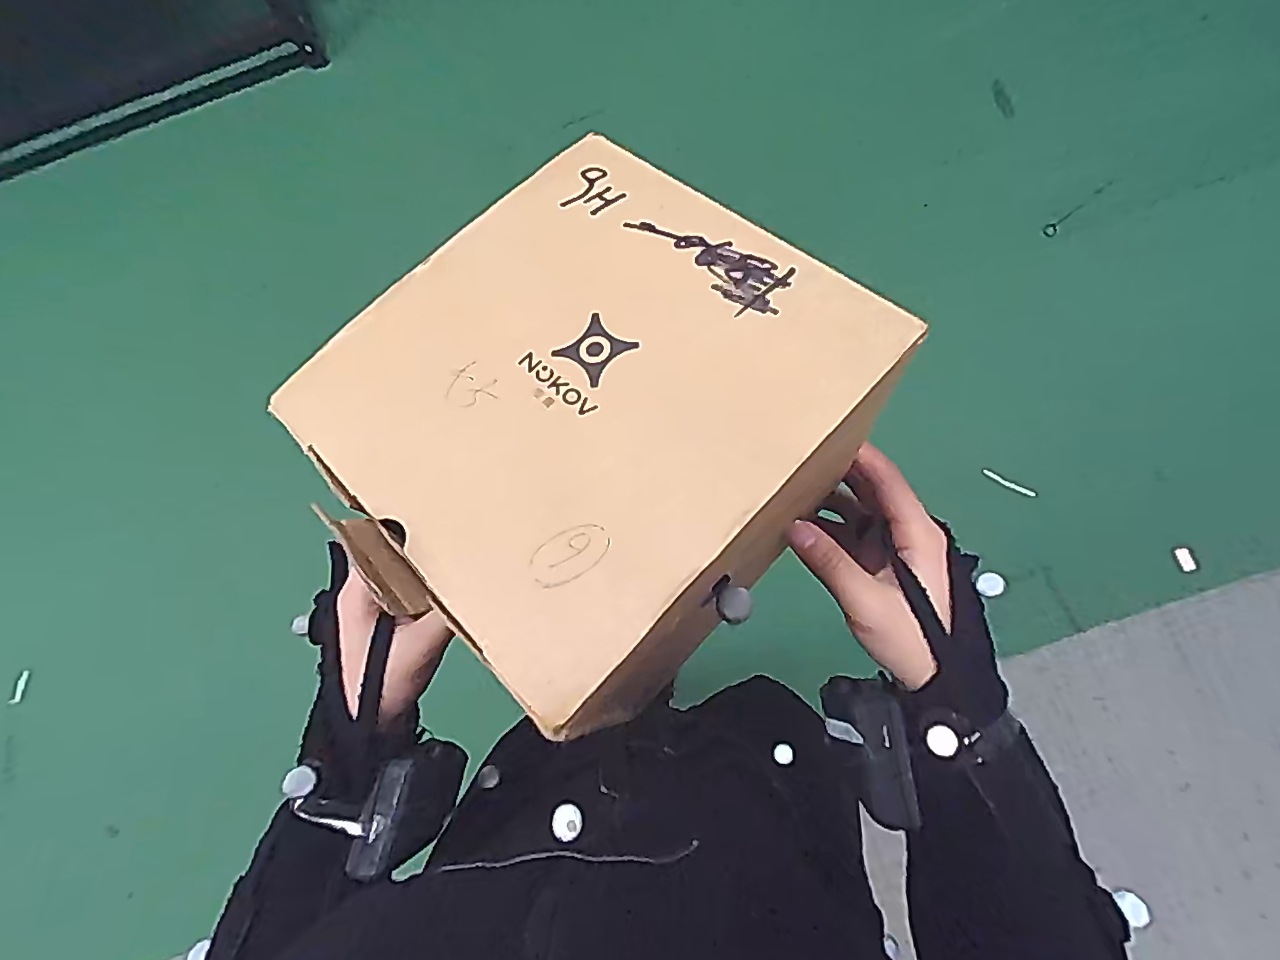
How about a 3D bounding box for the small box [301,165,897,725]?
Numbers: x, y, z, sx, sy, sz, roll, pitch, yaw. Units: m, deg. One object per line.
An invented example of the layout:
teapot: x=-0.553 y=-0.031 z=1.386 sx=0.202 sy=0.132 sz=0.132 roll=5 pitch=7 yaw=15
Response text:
small box: x=-0.011 y=-0.005 z=0.277 sx=0.168 sy=0.176 sz=0.179 roll=40 pitch=79 yaw=20
